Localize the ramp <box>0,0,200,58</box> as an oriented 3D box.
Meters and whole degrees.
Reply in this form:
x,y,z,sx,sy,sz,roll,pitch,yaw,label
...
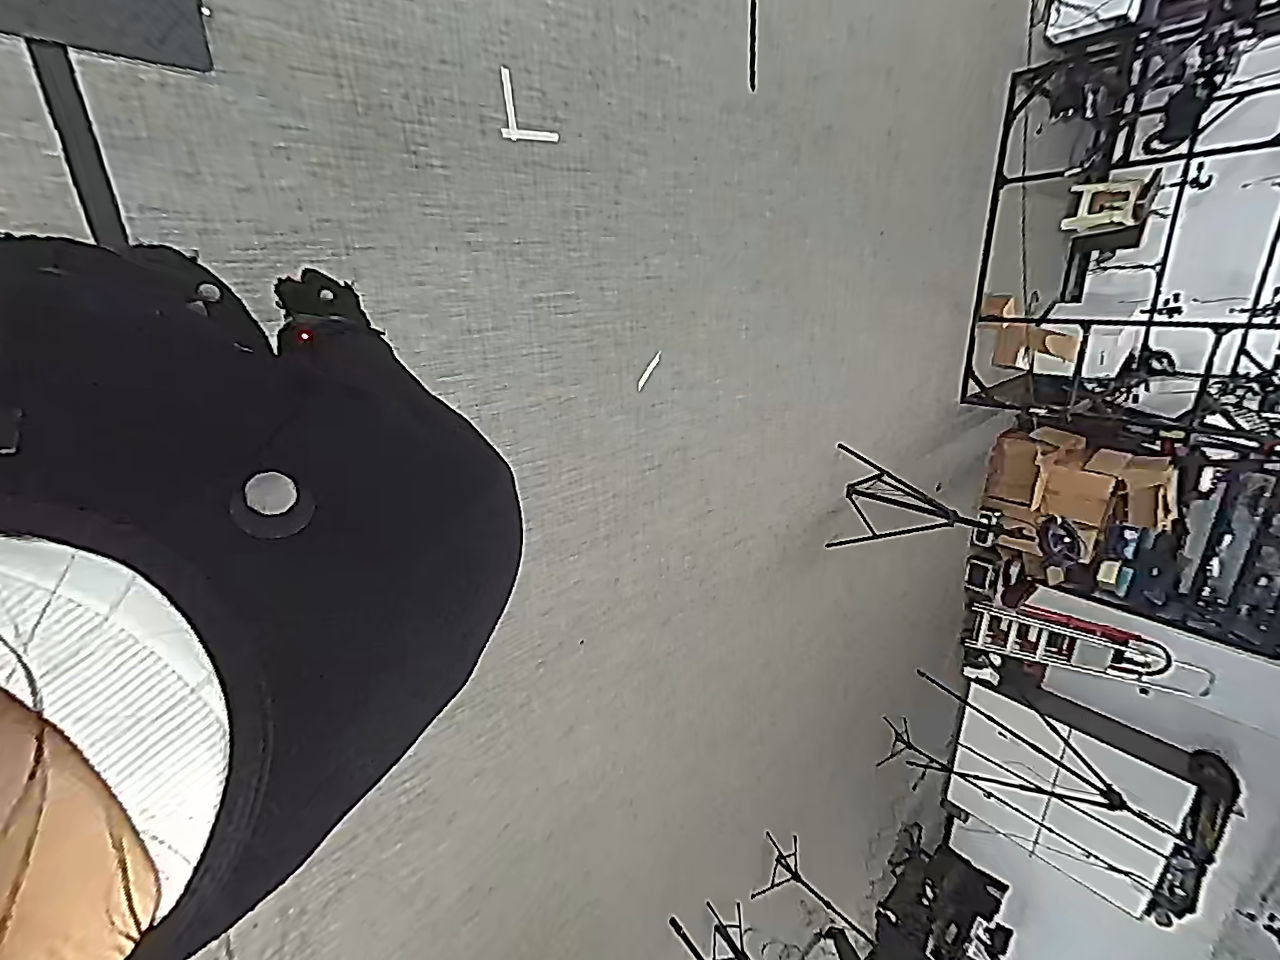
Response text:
x,y,z,sx,sy,sz,roll,pitch,yaw,label
-0.953,-1.176,0.647,0.509,0.206,0.991,-19,117,-38,ramp
